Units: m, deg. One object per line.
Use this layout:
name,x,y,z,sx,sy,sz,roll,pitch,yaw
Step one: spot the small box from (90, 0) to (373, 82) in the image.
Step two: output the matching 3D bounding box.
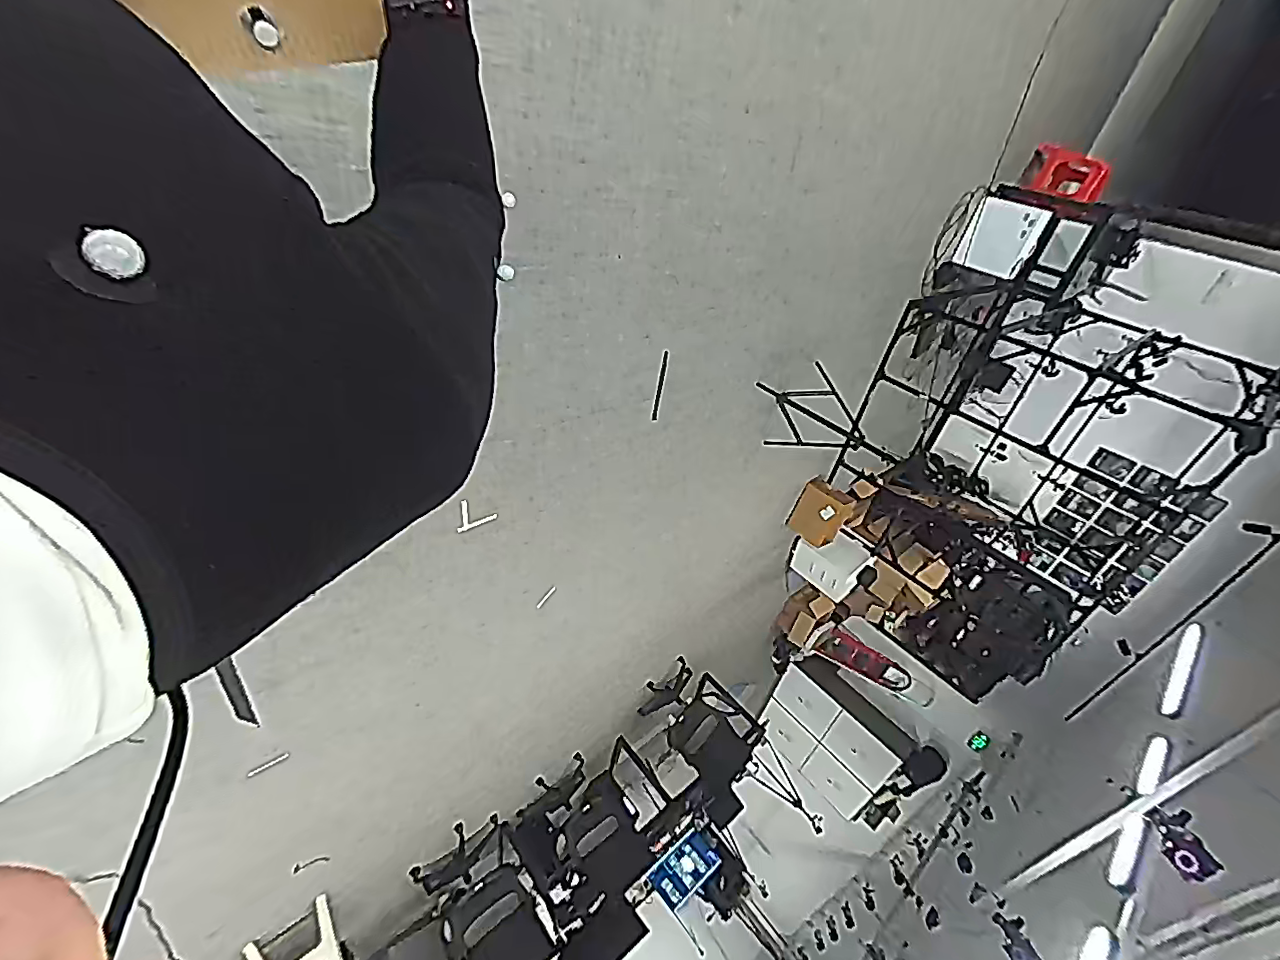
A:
small box,-0.296,-0.408,0.356,0.179,0.168,0.176,-20,179,-17
